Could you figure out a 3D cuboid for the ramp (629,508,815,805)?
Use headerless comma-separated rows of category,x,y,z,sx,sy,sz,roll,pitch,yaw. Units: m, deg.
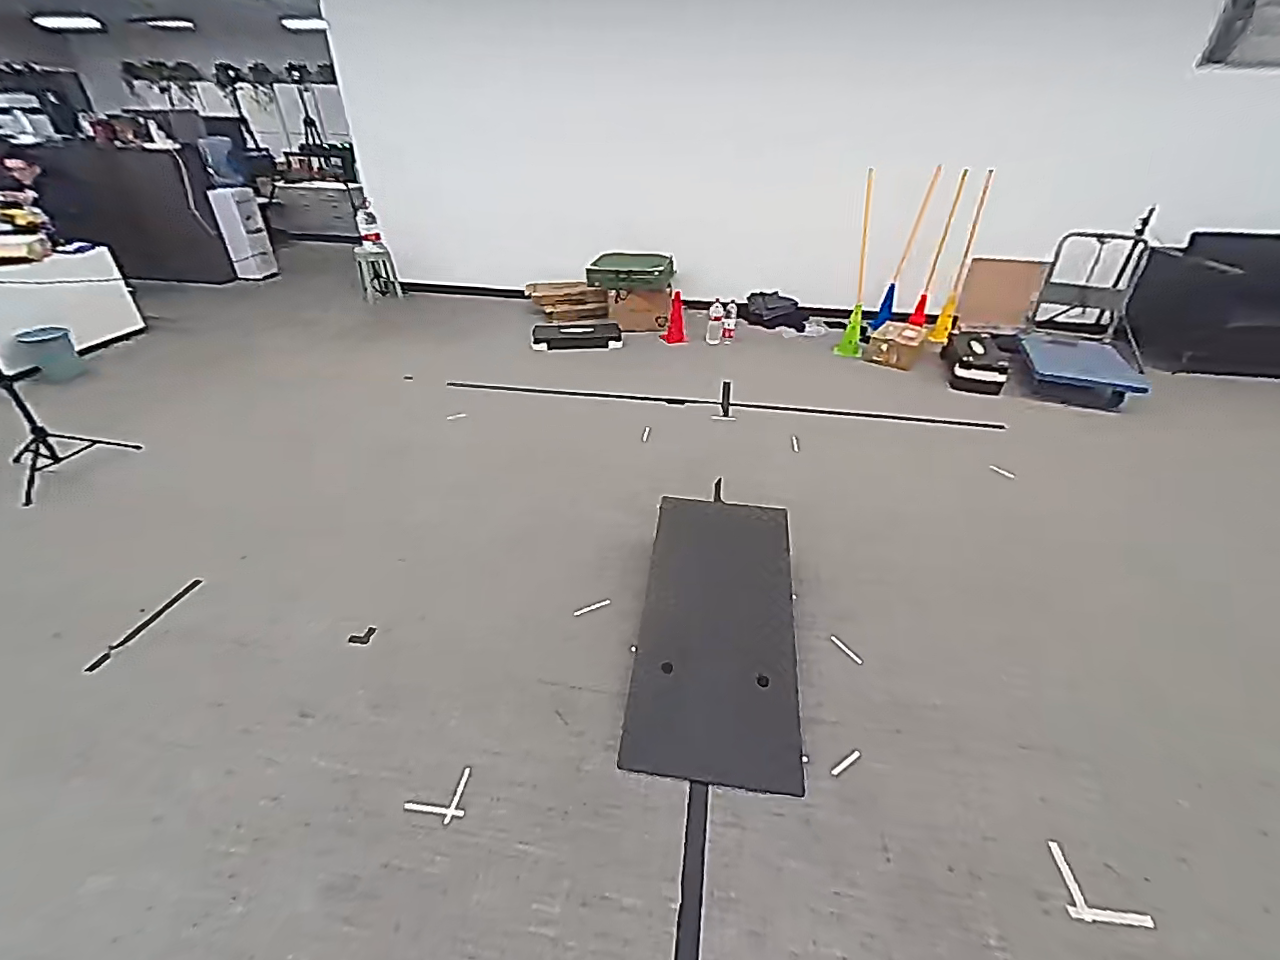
ramp,0.275,0.475,1.757,0.509,0.206,0.991,4,33,4
